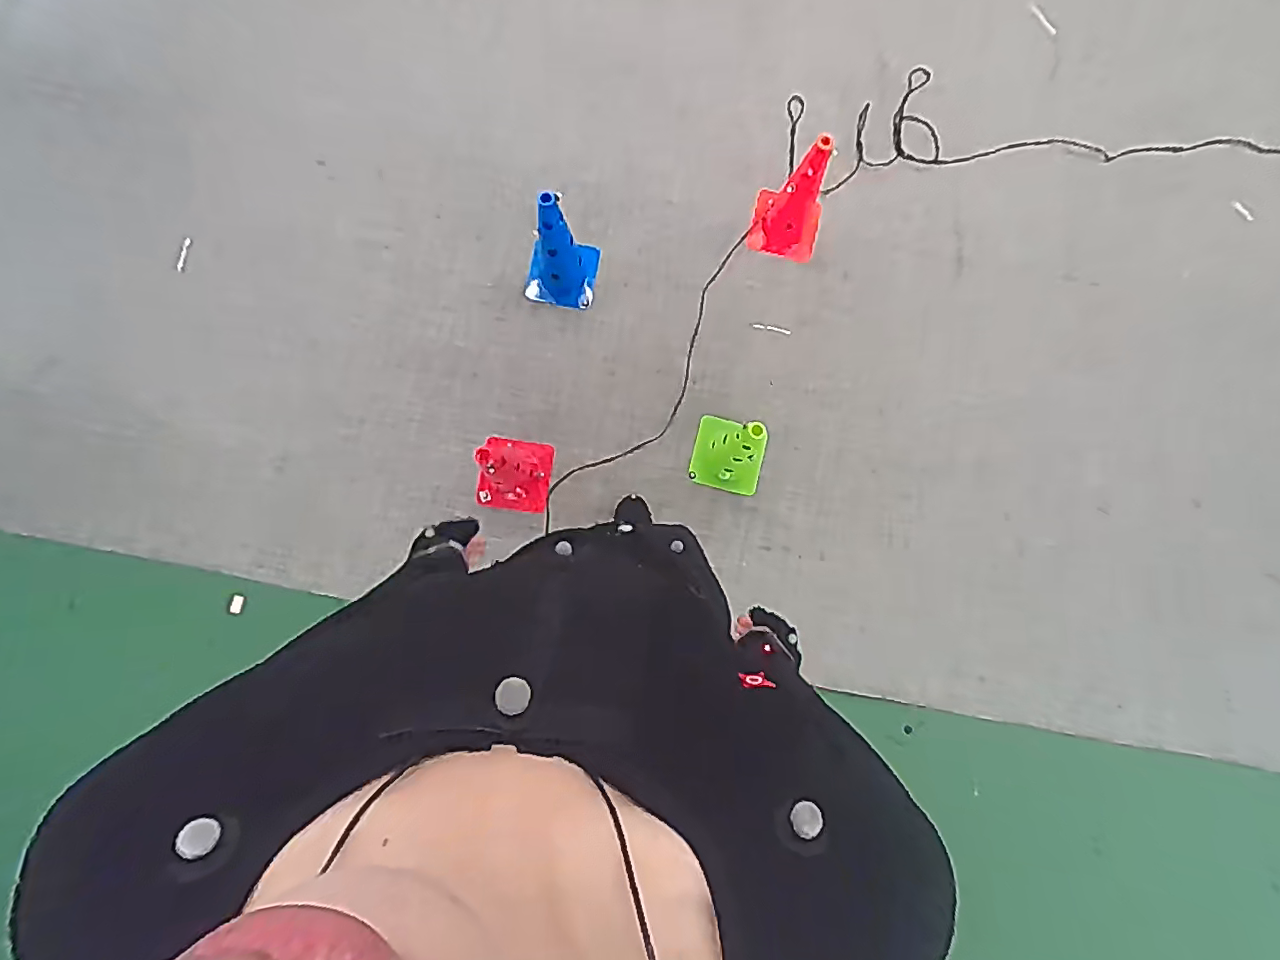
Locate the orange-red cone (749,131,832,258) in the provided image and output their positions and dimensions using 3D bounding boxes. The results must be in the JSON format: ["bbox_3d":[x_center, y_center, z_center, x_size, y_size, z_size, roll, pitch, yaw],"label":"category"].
[{"bbox_3d":[0.443,-0.798,1.467,0.198,0.360,0.199,15,85,2],"label":"orange-red cone"}]

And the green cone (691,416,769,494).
[{"bbox_3d":[0.264,-0.094,1.379,0.200,0.368,0.202,13,82,0],"label":"green cone"}]
